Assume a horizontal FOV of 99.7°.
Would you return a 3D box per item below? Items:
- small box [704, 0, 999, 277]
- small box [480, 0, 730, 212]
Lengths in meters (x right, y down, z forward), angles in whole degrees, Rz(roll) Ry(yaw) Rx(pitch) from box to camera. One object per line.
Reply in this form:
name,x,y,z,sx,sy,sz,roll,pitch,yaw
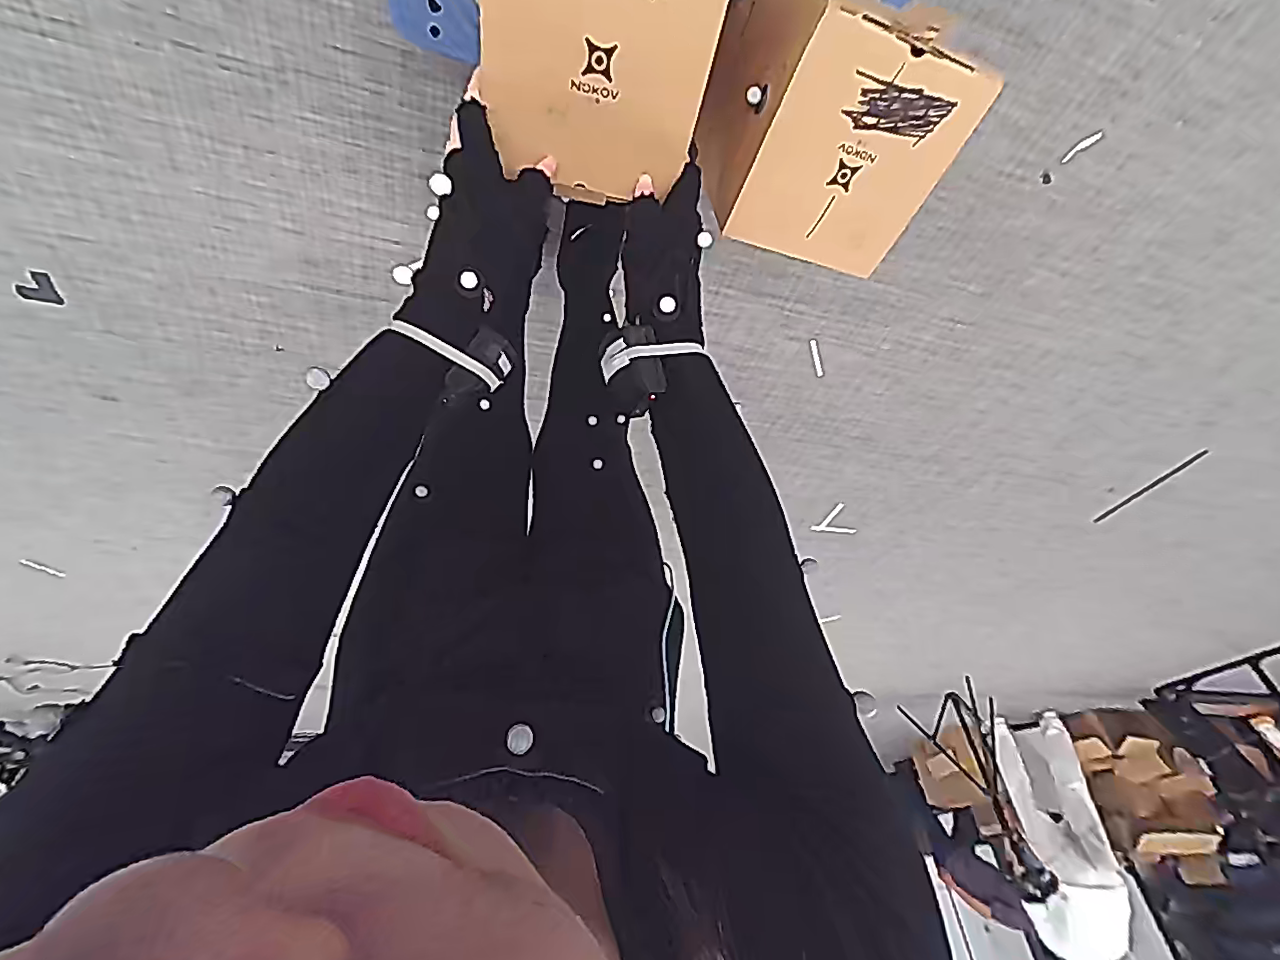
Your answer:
small box,0.172,-0.330,0.508,0.168,0.176,0.179,9,140,-18
small box,-0.037,-0.362,0.447,0.168,0.176,0.179,5,142,-13
